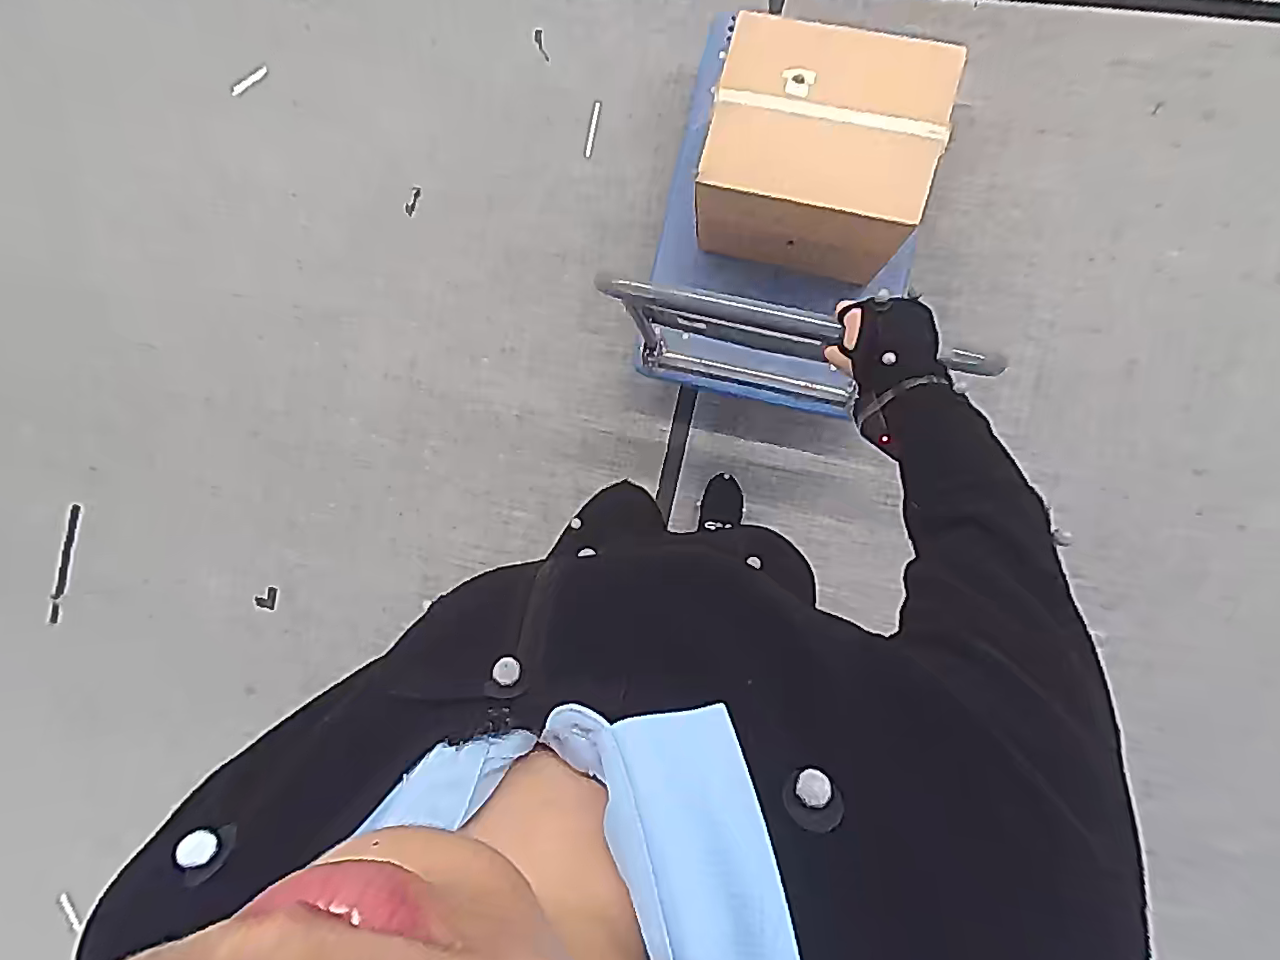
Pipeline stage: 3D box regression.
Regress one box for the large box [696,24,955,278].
[{"bbox_3d":[0.351,-0.653,1.125,0.408,0.320,0.320,14,92,8],"label":"large box"}]
